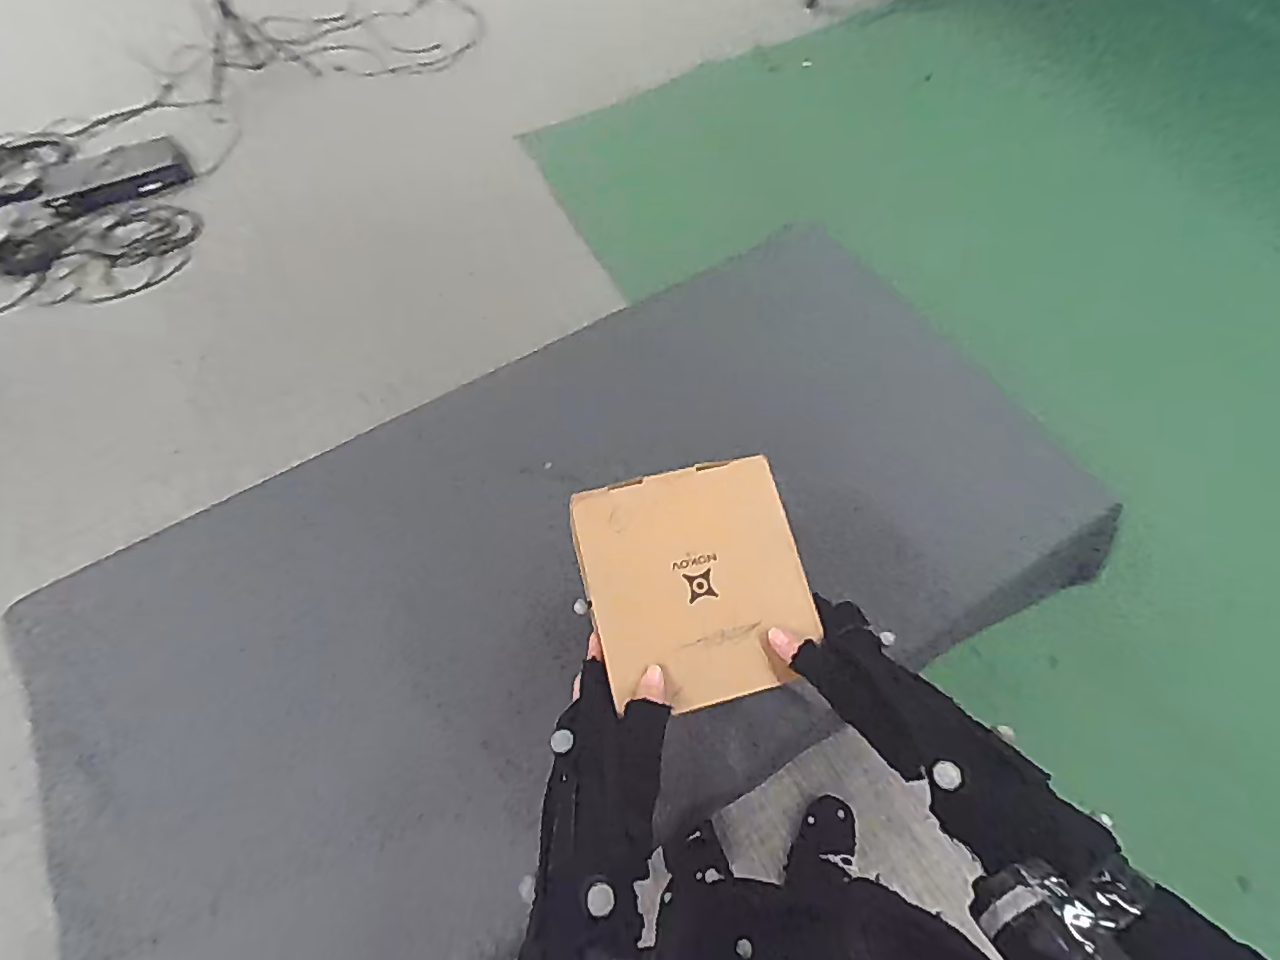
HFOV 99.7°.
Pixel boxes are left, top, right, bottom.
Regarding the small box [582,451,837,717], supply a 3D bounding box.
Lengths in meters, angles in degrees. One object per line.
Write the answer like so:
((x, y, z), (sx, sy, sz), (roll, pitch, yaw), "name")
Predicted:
((0.043, 0.094, 0.489), (0.168, 0.176, 0.179), (-12, 76, -8), "small box")
